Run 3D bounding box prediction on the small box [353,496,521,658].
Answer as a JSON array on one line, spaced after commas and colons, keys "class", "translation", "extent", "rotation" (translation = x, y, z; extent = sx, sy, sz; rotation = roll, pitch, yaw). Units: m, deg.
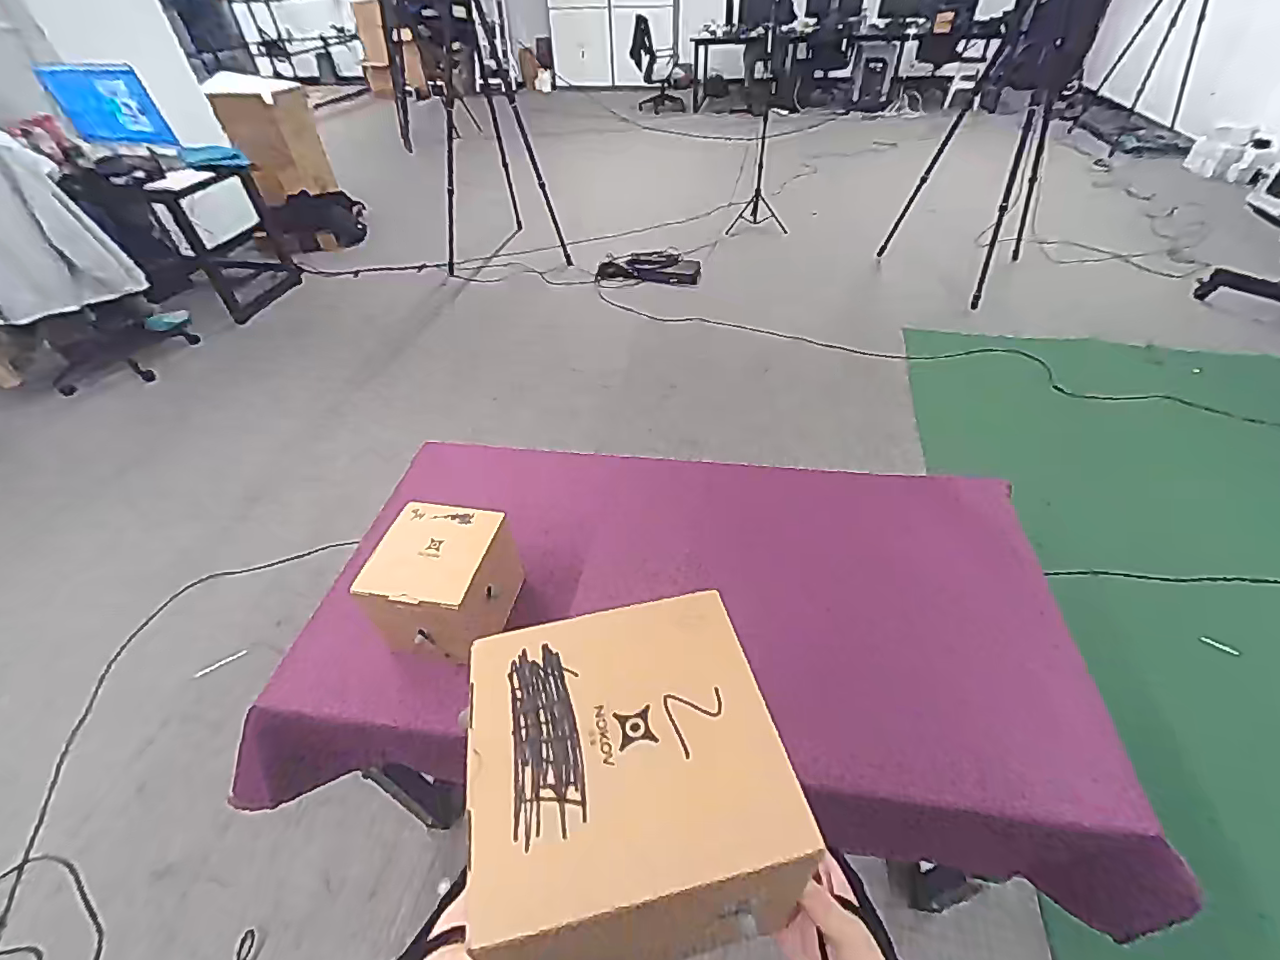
[{"class": "small box", "translation": [-0.298, 0.153, 0.843], "extent": [0.168, 0.176, 0.179], "rotation": [8, 46, 9]}]
